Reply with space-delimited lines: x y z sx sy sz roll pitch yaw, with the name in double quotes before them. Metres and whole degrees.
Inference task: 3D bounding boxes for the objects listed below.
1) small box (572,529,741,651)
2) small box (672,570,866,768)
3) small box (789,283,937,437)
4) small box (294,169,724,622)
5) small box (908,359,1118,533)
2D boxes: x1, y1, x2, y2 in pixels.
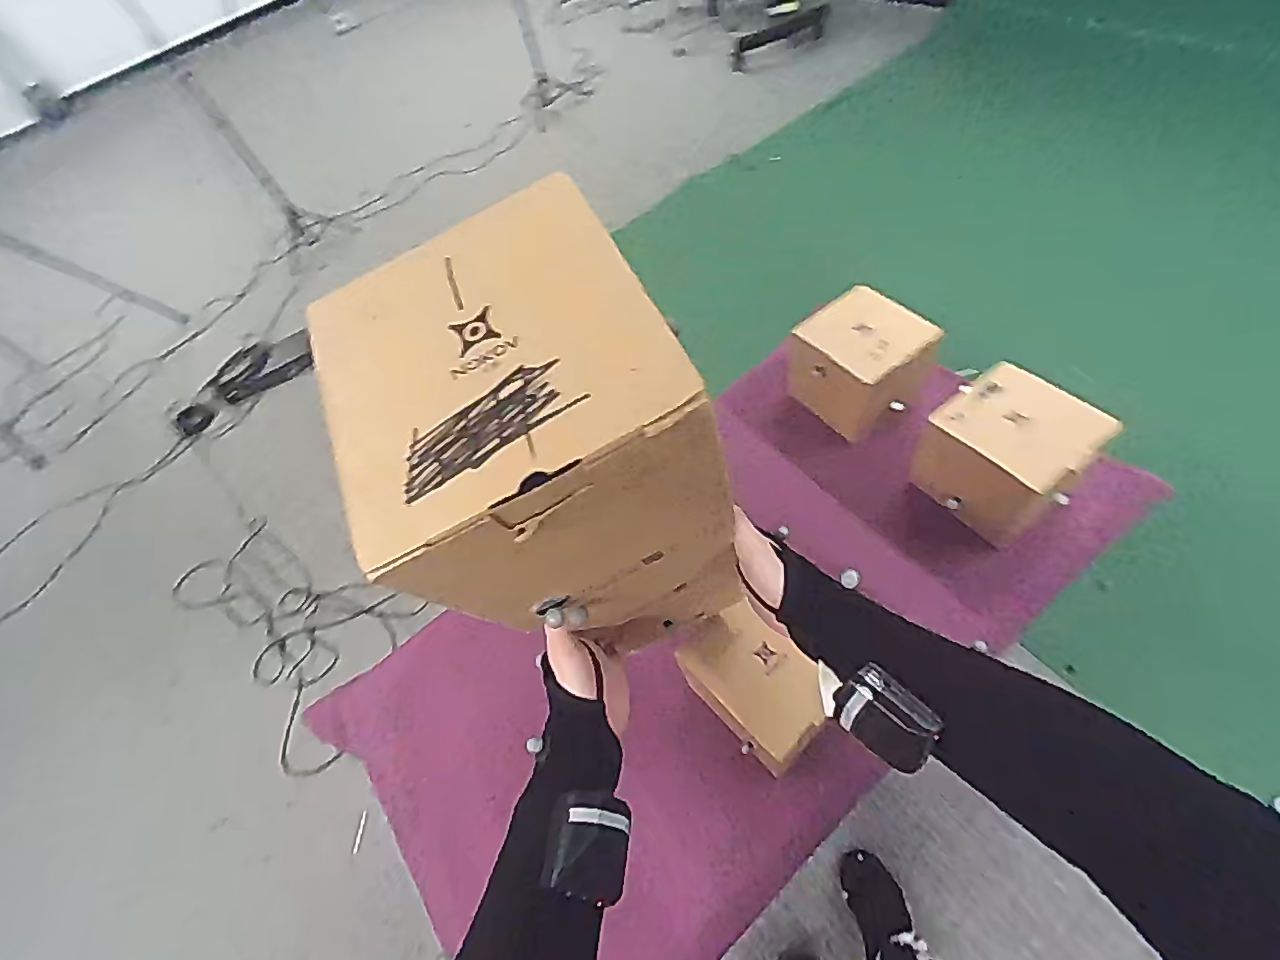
"small box" 0.005 0.079 0.626 0.168 0.176 0.179 -26 64 2
"small box" 0.170 0.259 0.725 0.168 0.176 0.179 -41 57 -14
"small box" 0.384 -0.210 0.969 0.168 0.176 0.179 -35 57 -8
"small box" -0.062 -0.029 0.323 0.168 0.176 0.179 -28 63 2
"small box" 0.546 -0.041 0.822 0.168 0.176 0.179 -35 56 -9
